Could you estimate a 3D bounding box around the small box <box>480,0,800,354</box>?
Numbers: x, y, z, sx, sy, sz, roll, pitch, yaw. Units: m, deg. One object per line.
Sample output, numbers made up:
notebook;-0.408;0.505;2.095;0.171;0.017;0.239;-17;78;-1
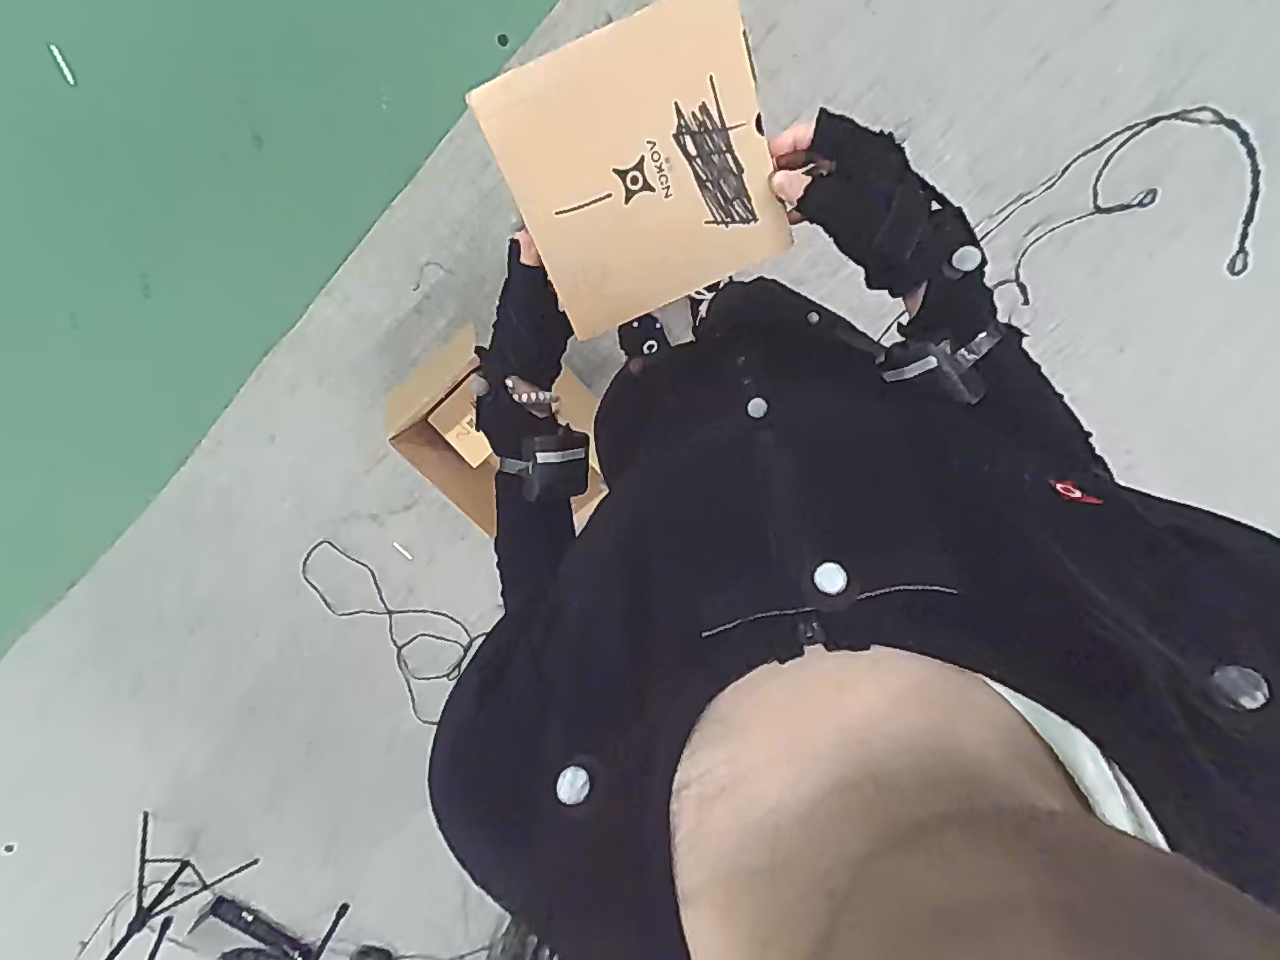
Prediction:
small box;-0.003;-0.227;0.427;0.179;0.176;0.168;-23;118;3
